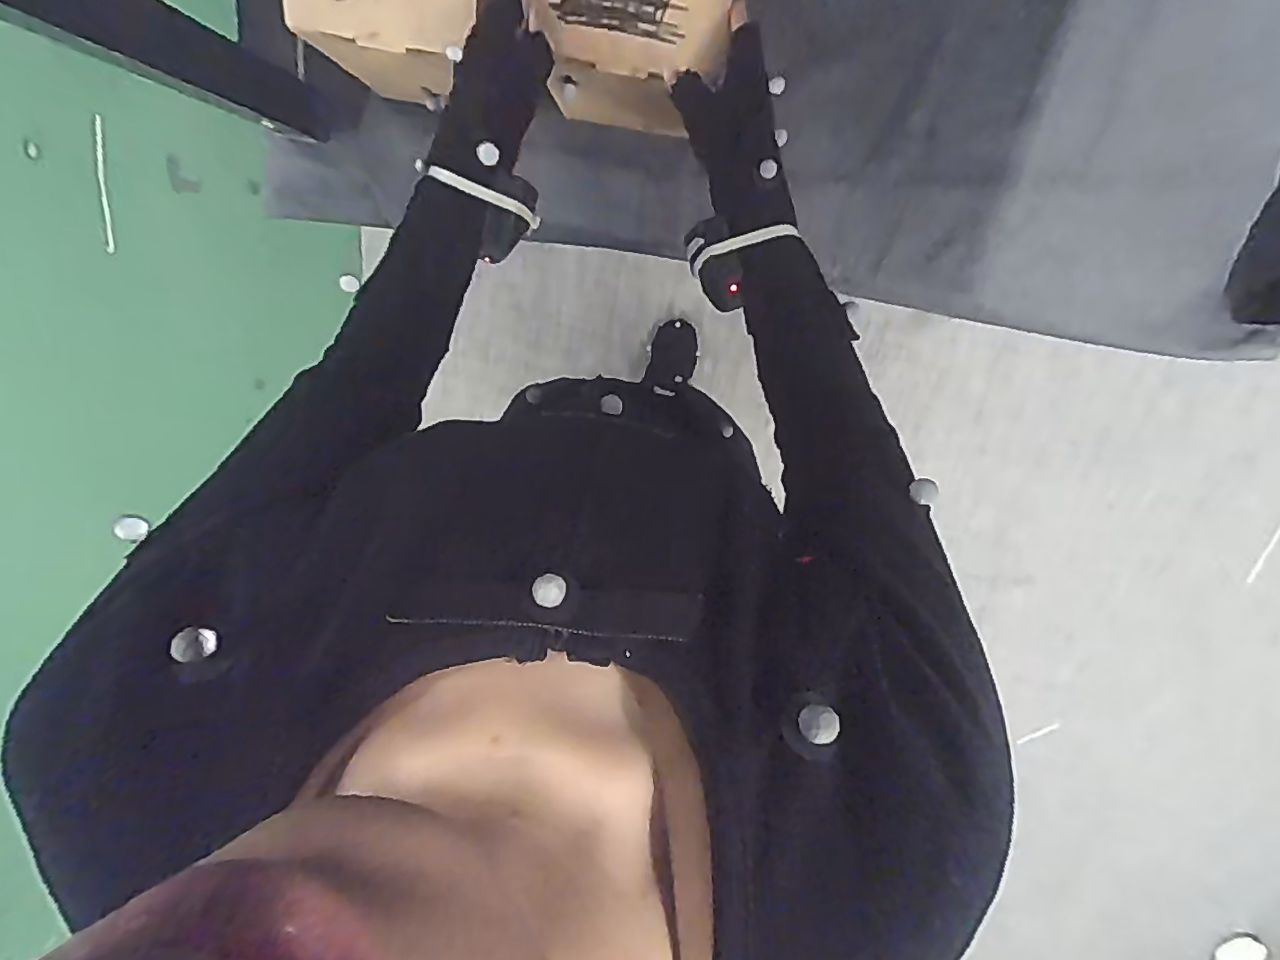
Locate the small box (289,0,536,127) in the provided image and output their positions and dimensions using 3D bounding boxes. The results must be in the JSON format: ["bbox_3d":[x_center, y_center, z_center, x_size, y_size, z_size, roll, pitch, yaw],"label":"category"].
[{"bbox_3d":[-0.201,-0.471,0.513,0.168,0.176,0.179,9,108,0],"label":"small box"}]
